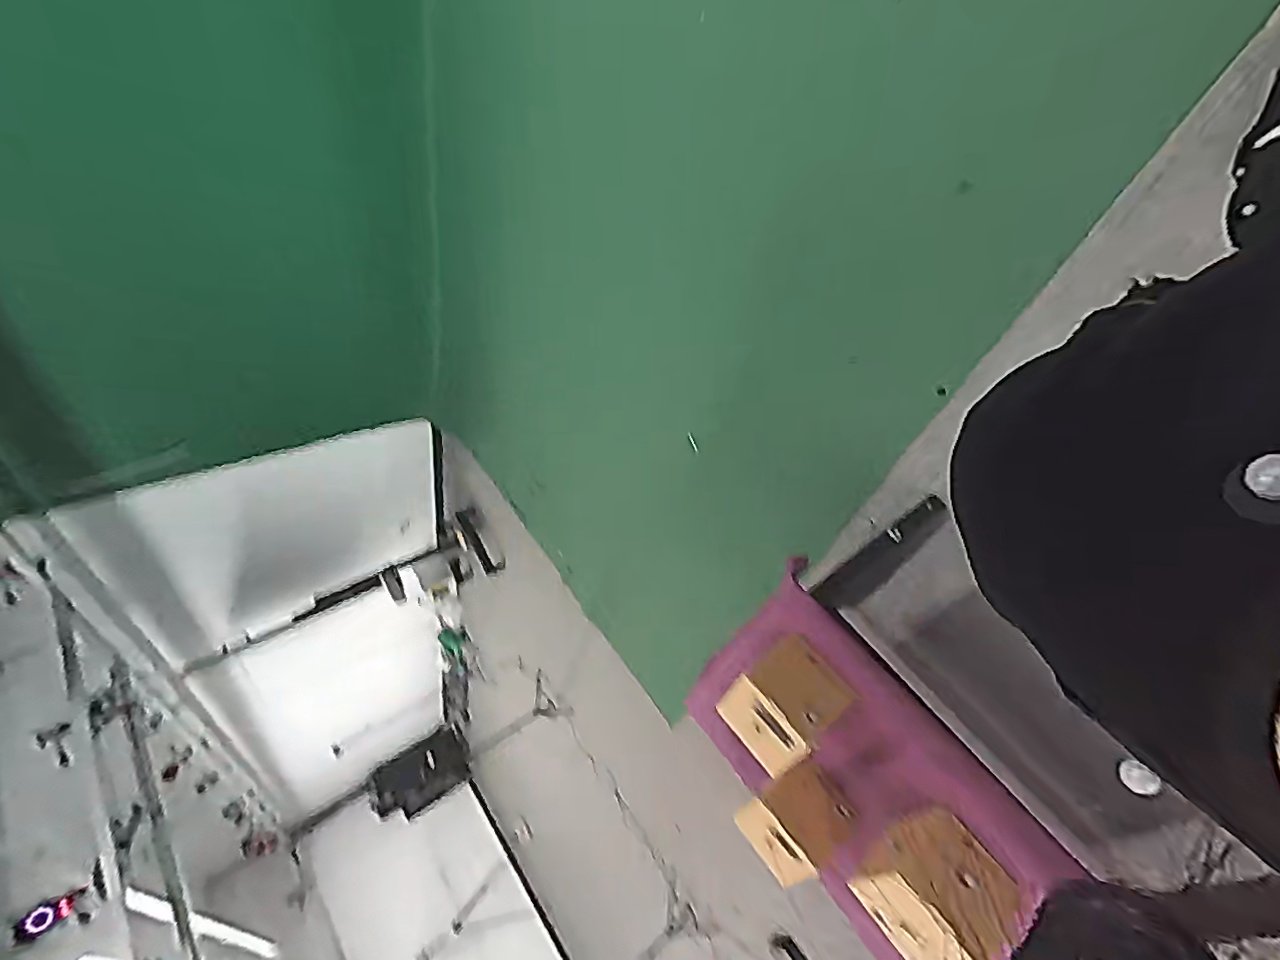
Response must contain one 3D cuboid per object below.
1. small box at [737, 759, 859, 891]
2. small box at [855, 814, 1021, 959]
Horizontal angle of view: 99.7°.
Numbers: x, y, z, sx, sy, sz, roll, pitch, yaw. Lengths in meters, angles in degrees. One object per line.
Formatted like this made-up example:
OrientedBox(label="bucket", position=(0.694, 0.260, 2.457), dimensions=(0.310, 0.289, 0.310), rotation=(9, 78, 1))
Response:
OrientedBox(label="small box", position=(0.352, 0.755, 1.195), dimensions=(0.168, 0.176, 0.179), rotation=(46, 141, 27))
OrientedBox(label="small box", position=(0.526, 0.727, 0.950), dimensions=(0.168, 0.176, 0.179), rotation=(48, 142, 25))
